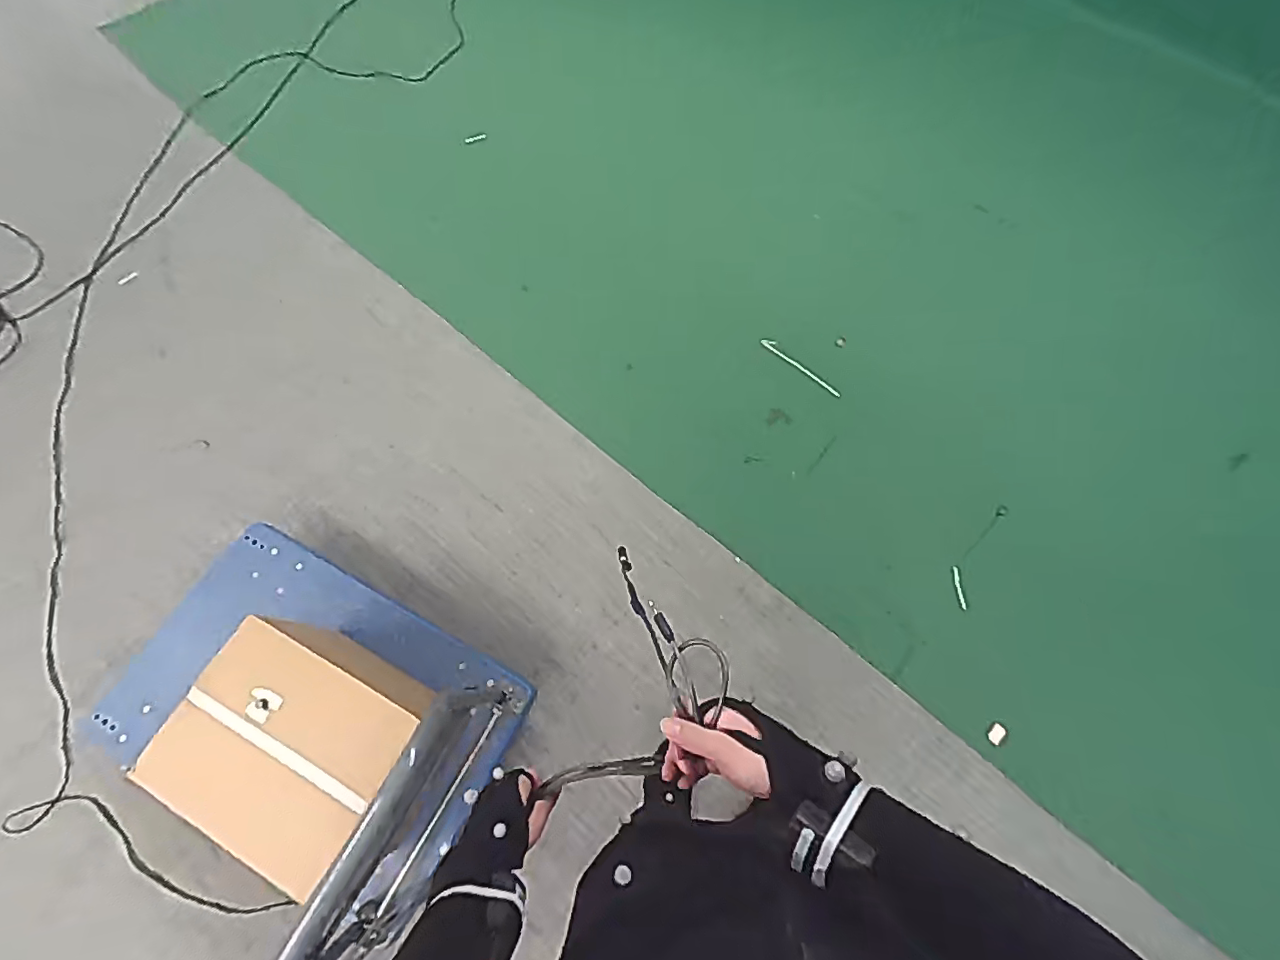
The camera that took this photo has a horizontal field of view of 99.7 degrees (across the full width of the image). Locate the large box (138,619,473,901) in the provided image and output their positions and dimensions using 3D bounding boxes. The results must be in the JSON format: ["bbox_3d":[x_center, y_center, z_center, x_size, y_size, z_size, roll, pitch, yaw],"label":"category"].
[{"bbox_3d":[-0.622,0.524,1.085,0.408,0.320,0.320,26,71,10],"label":"large box"}]
